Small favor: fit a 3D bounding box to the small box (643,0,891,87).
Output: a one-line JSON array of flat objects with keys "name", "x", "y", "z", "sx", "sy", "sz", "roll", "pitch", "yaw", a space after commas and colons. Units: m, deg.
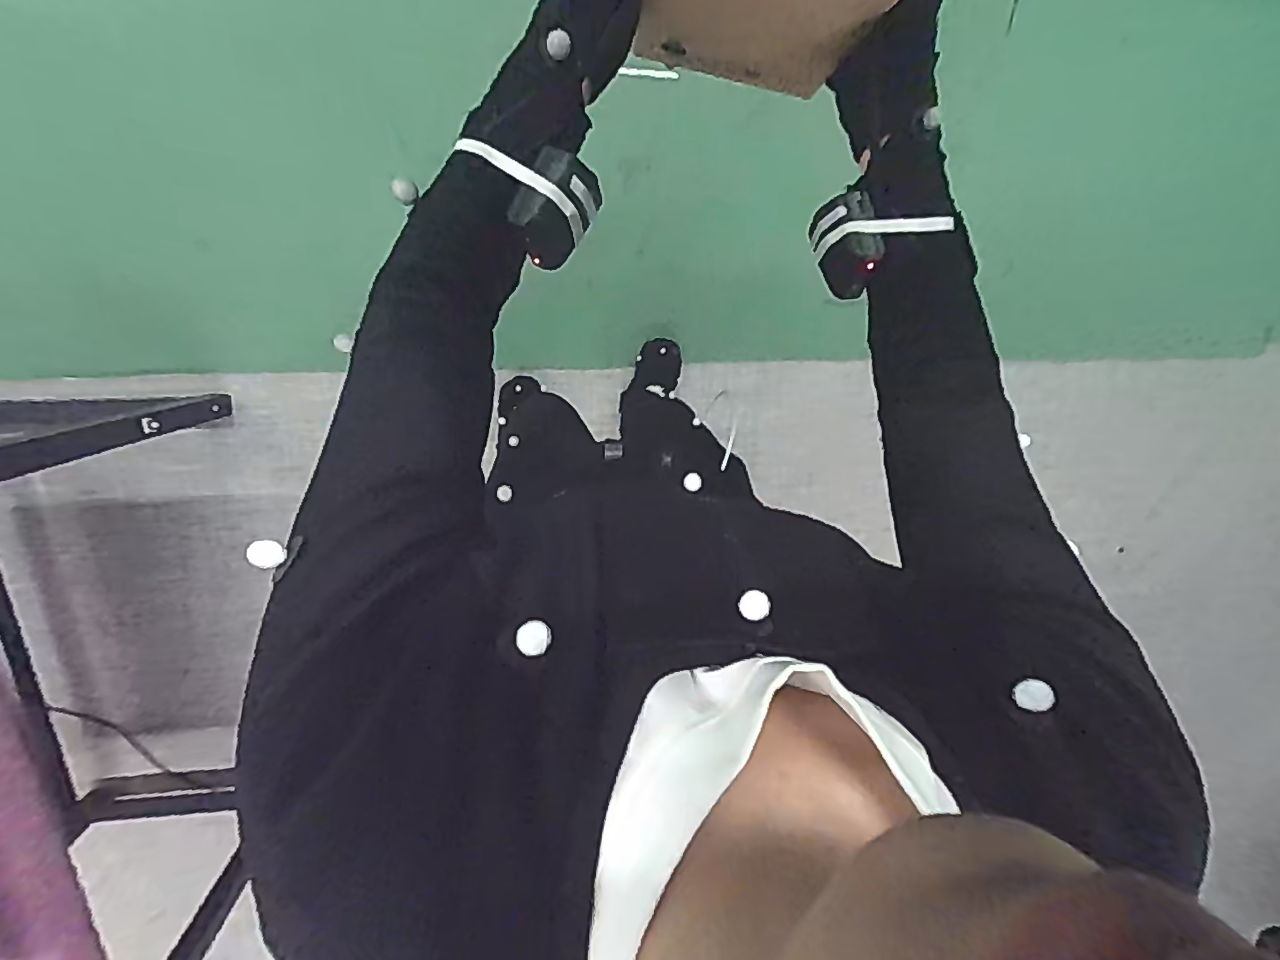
[{"name": "small box", "x": 0.096, "y": -0.416, "z": 0.382, "sx": 0.168, "sy": 0.176, "sz": 0.179, "roll": 5, "pitch": 105, "yaw": -7}]
